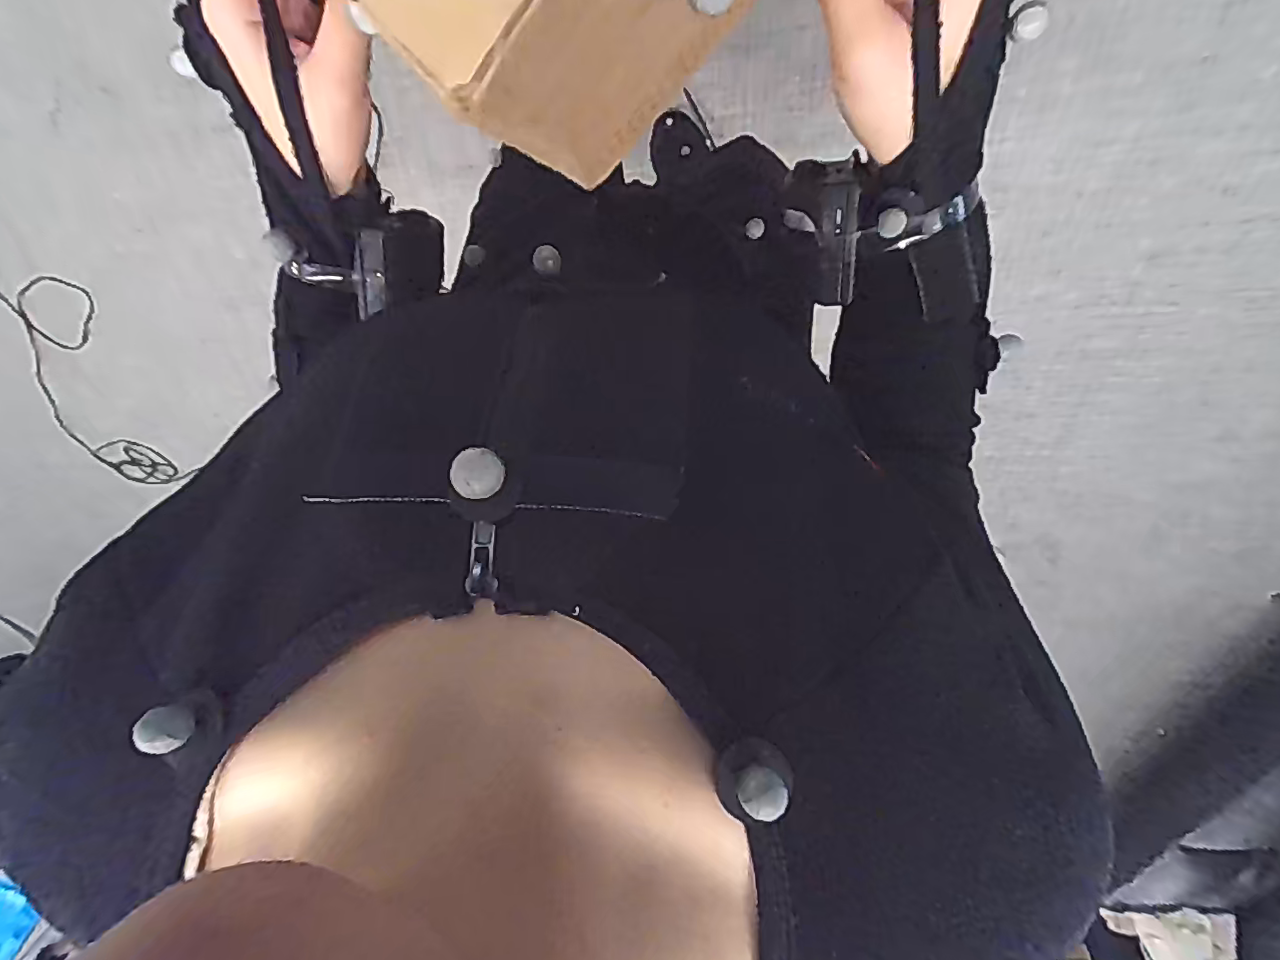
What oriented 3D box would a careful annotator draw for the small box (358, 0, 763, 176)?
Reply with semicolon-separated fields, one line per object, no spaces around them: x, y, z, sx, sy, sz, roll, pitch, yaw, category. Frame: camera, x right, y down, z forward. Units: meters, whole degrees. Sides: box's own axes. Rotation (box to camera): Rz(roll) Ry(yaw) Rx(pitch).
-0.025;-0.227;0.164;0.168;0.176;0.179;44;111;-12;small box
